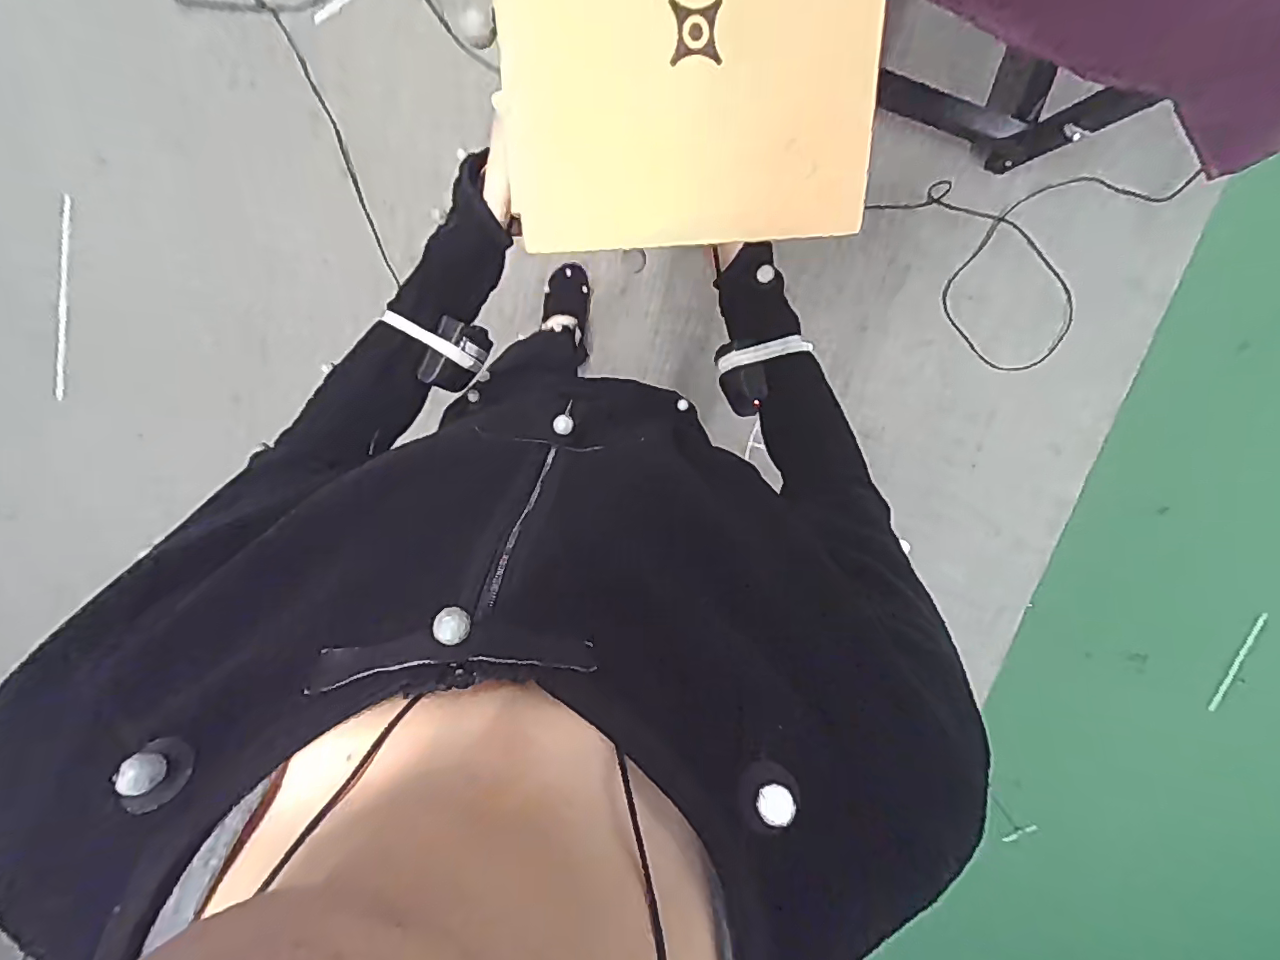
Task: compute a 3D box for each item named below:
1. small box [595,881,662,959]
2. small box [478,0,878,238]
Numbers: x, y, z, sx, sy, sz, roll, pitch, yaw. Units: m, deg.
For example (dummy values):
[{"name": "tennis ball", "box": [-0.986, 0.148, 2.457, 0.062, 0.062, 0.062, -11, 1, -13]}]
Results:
[{"name": "small box", "box": [-0.041, 1.426, 1.711, 0.168, 0.176, 0.179, 16, 101, -9]}, {"name": "small box", "box": [0.008, -0.230, 0.289, 0.168, 0.176, 0.179, -5, 114, -5]}]
